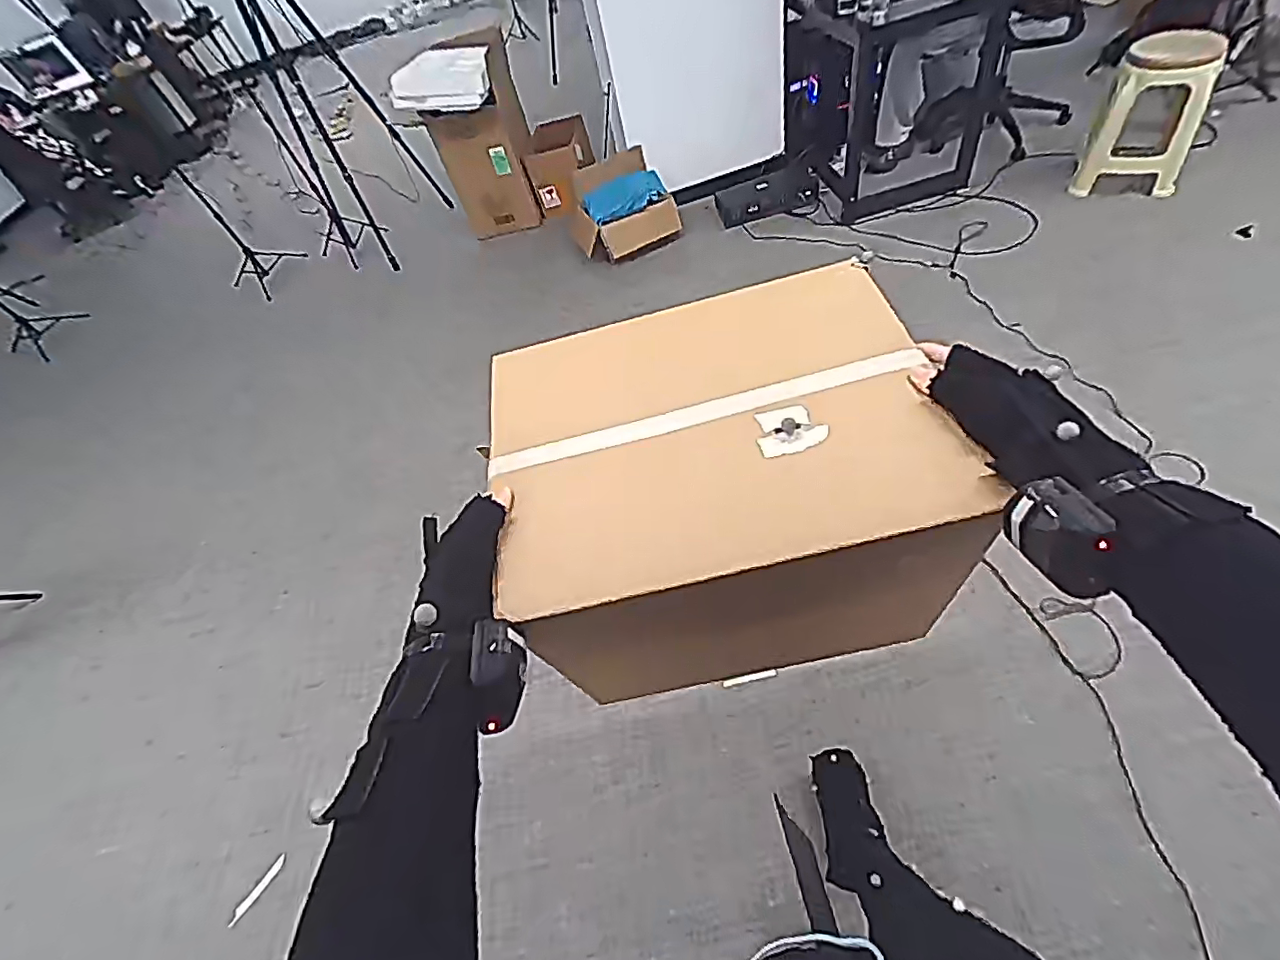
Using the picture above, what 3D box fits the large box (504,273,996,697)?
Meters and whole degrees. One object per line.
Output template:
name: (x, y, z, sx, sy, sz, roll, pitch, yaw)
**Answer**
large box: (0.089, 0.025, 0.635, 0.408, 0.320, 0.320, -14, 55, 4)
